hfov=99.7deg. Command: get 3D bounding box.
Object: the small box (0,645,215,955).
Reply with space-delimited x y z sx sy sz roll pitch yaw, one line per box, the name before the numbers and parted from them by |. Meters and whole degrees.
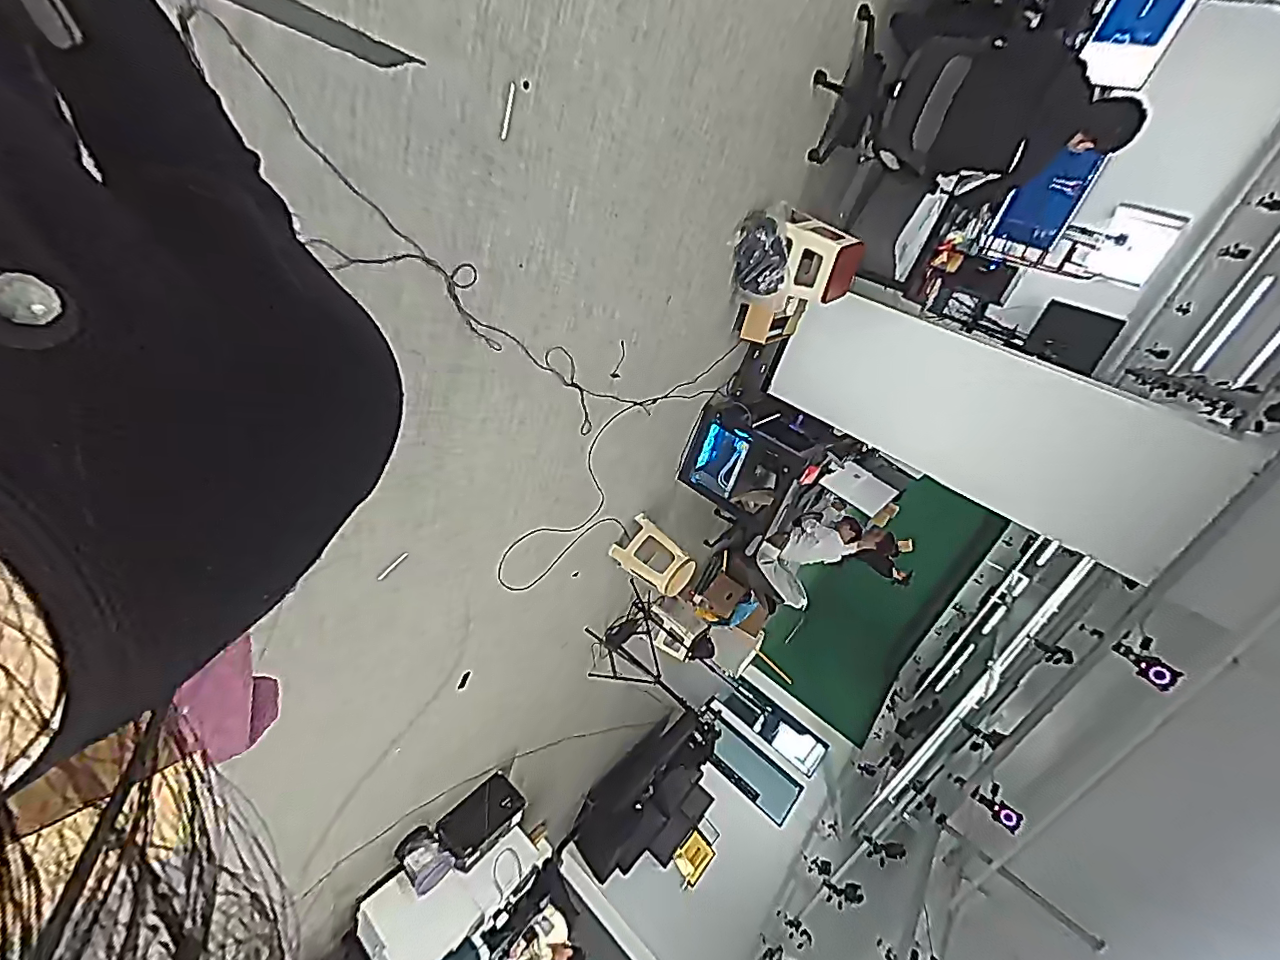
small box | -0.578 0.308 0.552 0.179 0.176 0.168 -23 141 -49
